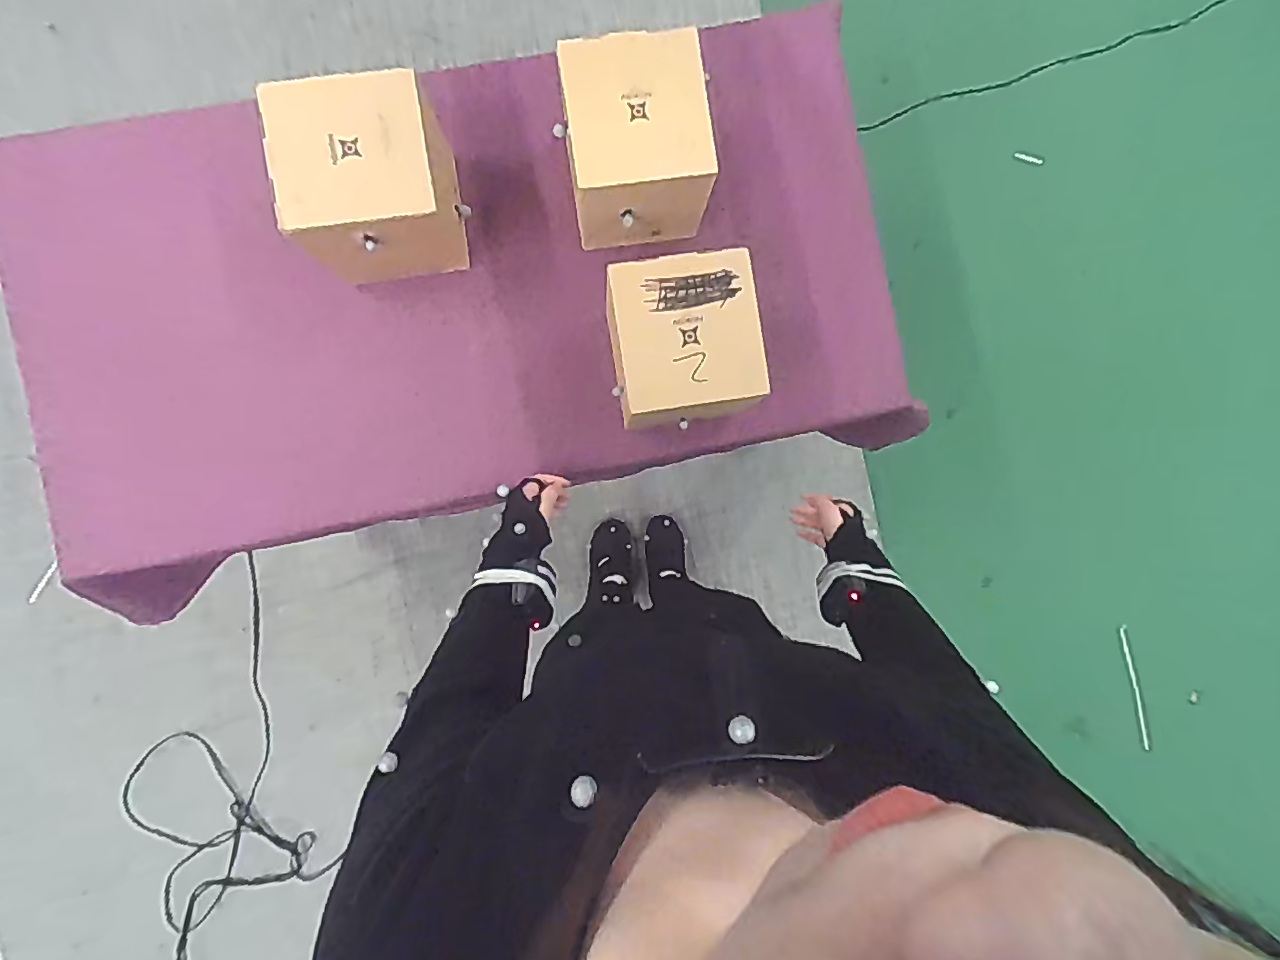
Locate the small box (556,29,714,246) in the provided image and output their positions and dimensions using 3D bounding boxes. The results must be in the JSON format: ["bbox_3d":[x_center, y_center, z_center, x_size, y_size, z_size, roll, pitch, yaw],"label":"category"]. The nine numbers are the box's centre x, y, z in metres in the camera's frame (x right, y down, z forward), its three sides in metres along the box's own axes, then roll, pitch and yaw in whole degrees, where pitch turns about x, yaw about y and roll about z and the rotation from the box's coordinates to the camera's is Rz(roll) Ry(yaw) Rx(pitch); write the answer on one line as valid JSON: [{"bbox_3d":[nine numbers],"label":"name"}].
[{"bbox_3d":[-0.007,-0.424,0.702,0.168,0.176,0.179,-9,89,-3],"label":"small box"}]

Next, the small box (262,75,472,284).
[{"bbox_3d":[-0.329,-0.364,0.685,0.179,0.176,0.168,-9,90,-4],"label":"small box"}]
